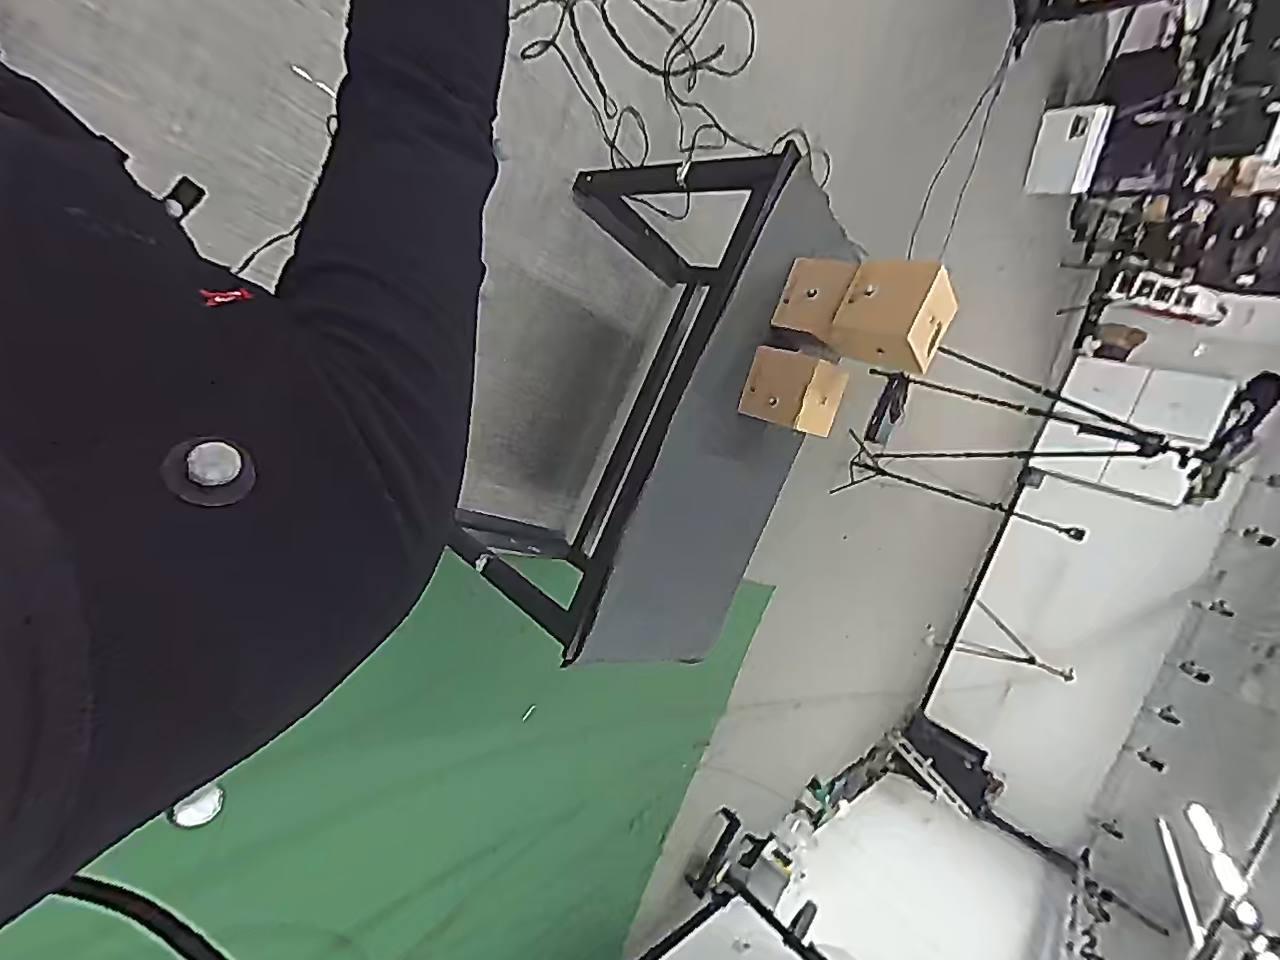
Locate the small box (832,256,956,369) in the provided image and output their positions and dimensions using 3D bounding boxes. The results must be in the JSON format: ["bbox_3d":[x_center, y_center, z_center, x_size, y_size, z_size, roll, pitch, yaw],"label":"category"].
[{"bbox_3d":[0.548,-0.366,1.169,0.179,0.176,0.168,24,92,-49],"label":"small box"}]

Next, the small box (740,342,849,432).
[{"bbox_3d":[0.368,-0.226,1.307,0.179,0.176,0.168,4,107,-48],"label":"small box"}]
